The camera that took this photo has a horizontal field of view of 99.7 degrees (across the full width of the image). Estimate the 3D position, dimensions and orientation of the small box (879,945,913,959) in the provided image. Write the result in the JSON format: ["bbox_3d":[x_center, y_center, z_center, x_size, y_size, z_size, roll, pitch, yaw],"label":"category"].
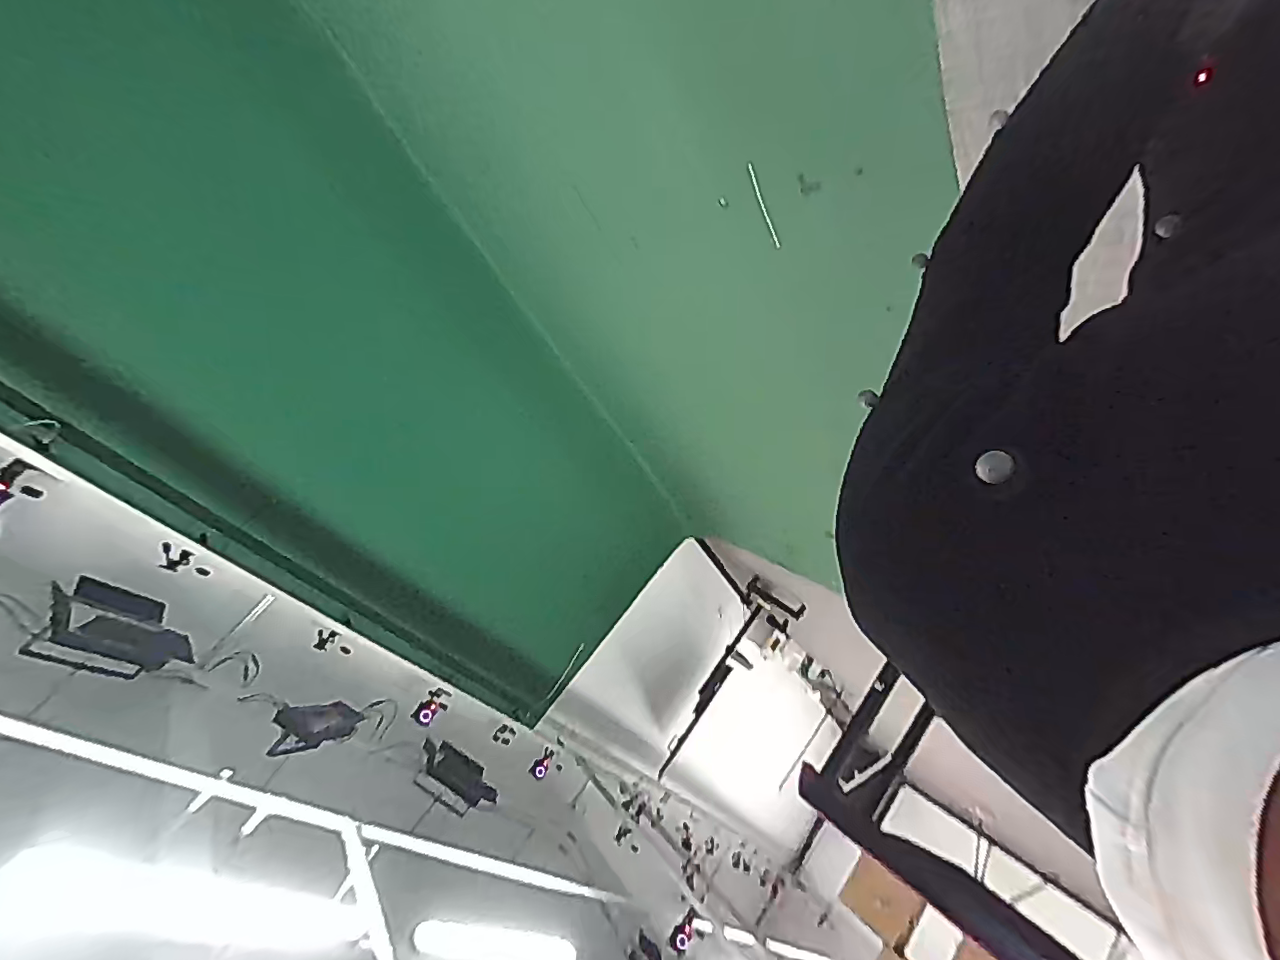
[{"bbox_3d":[0.728,1.413,1.468,0.168,0.176,0.179,21,157,50],"label":"small box"}]

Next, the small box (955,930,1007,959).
[{"bbox_3d":[0.918,1.326,1.404,0.179,0.176,0.168,23,158,48],"label":"small box"}]

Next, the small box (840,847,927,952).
[{"bbox_3d":[0.737,1.253,1.621,0.179,0.176,0.168,19,154,49],"label":"small box"}]
